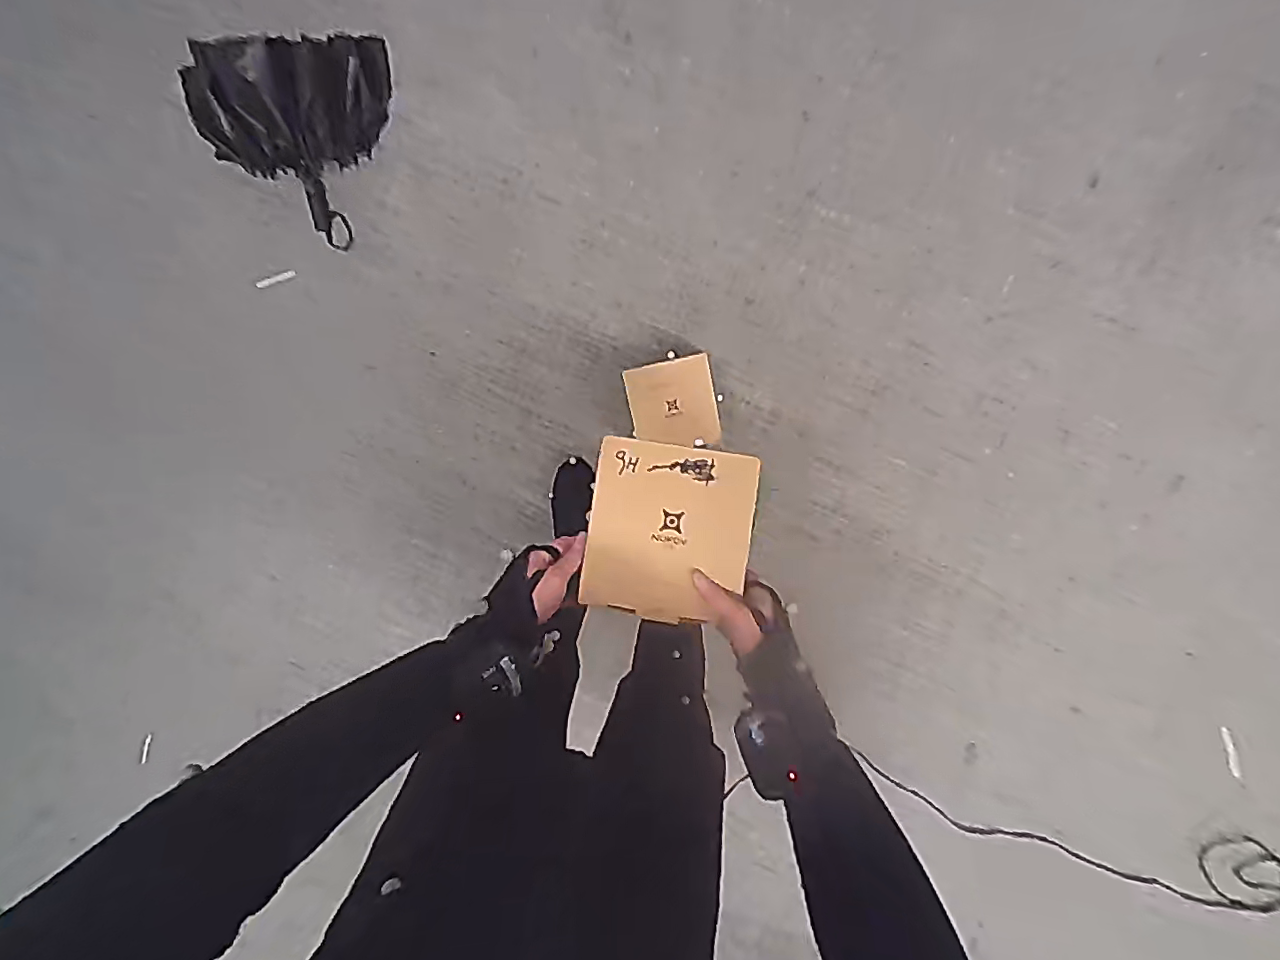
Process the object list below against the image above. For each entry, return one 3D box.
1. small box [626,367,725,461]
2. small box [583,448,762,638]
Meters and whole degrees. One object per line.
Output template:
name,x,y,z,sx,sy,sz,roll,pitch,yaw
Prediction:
small box,0.077,-0.131,1.119,0.168,0.176,0.179,-12,99,8
small box,0.036,0.069,0.636,0.168,0.176,0.179,8,86,1
